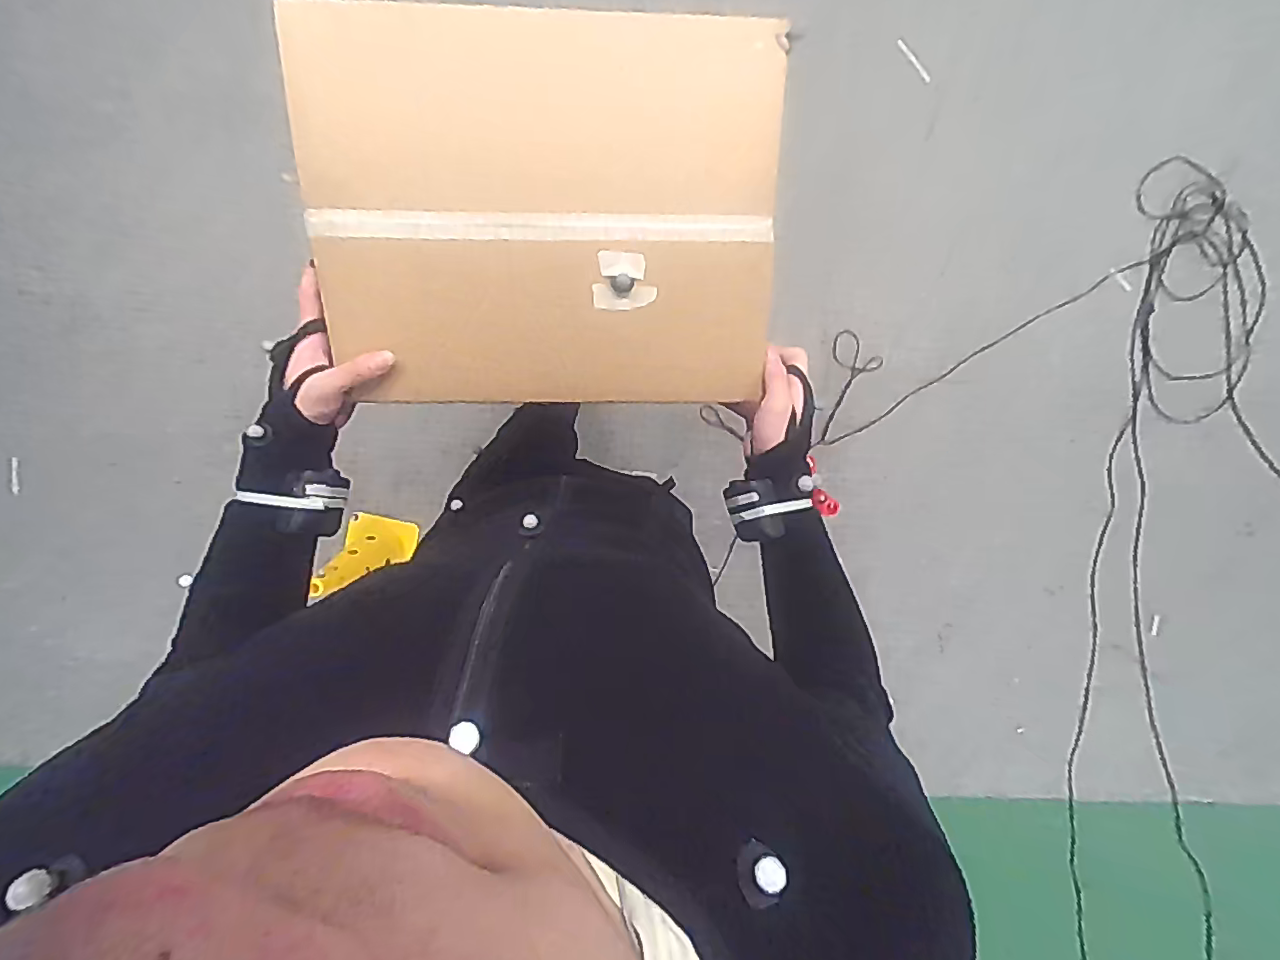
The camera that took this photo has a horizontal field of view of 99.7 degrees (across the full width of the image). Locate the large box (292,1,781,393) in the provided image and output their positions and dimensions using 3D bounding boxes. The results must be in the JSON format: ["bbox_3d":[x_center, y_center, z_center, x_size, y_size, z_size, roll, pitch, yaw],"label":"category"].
[{"bbox_3d":[-0.090,-0.281,0.625,0.408,0.320,0.320,-1,109,-4],"label":"large box"}]
